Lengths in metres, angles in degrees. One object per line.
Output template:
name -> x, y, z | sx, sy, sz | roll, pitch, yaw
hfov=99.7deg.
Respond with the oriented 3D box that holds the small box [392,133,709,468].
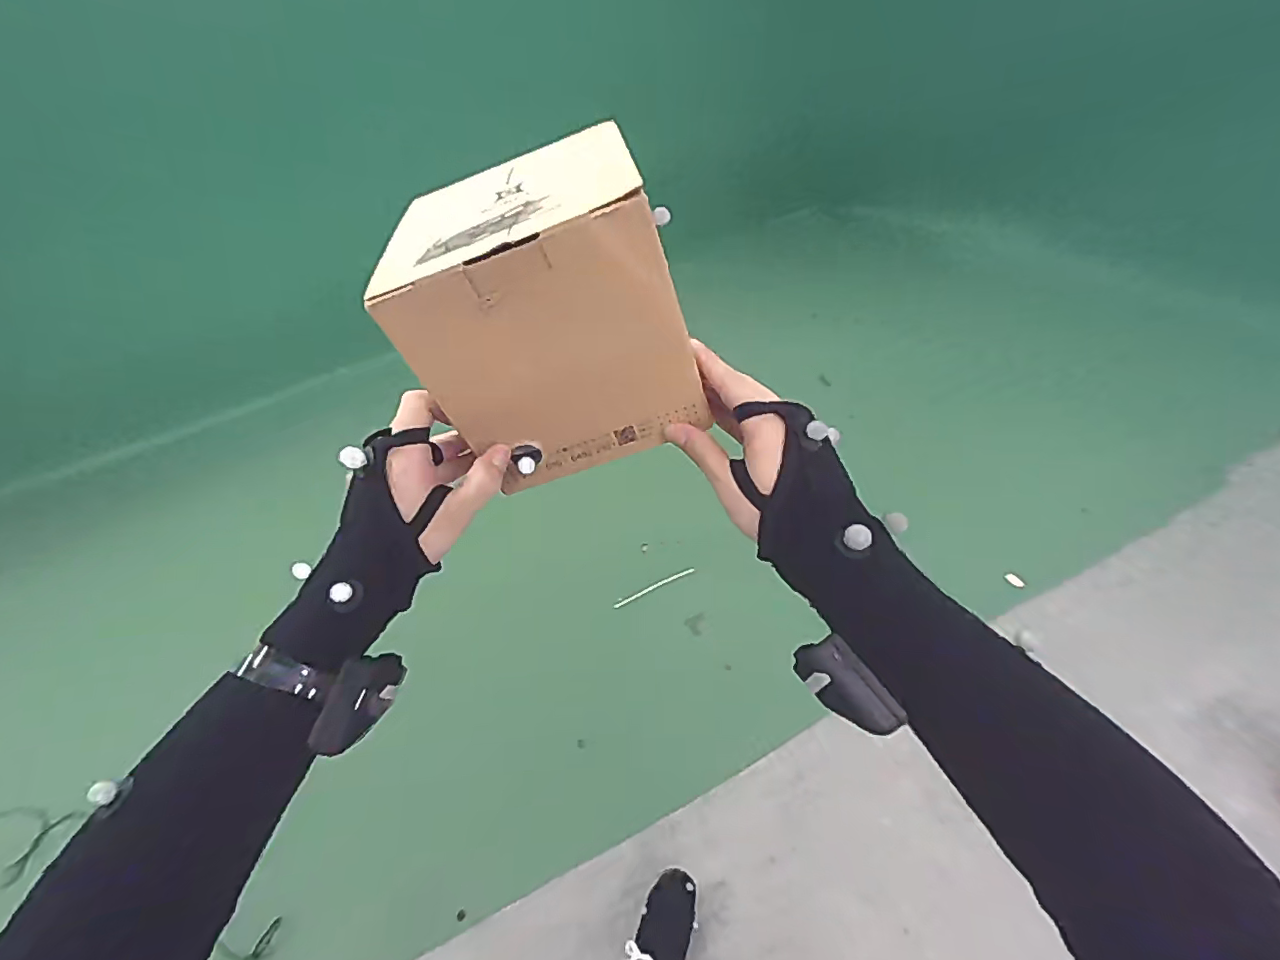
small box -> -0.054, -0.129, 0.419 | 0.168, 0.176, 0.179 | -17, 43, 7
